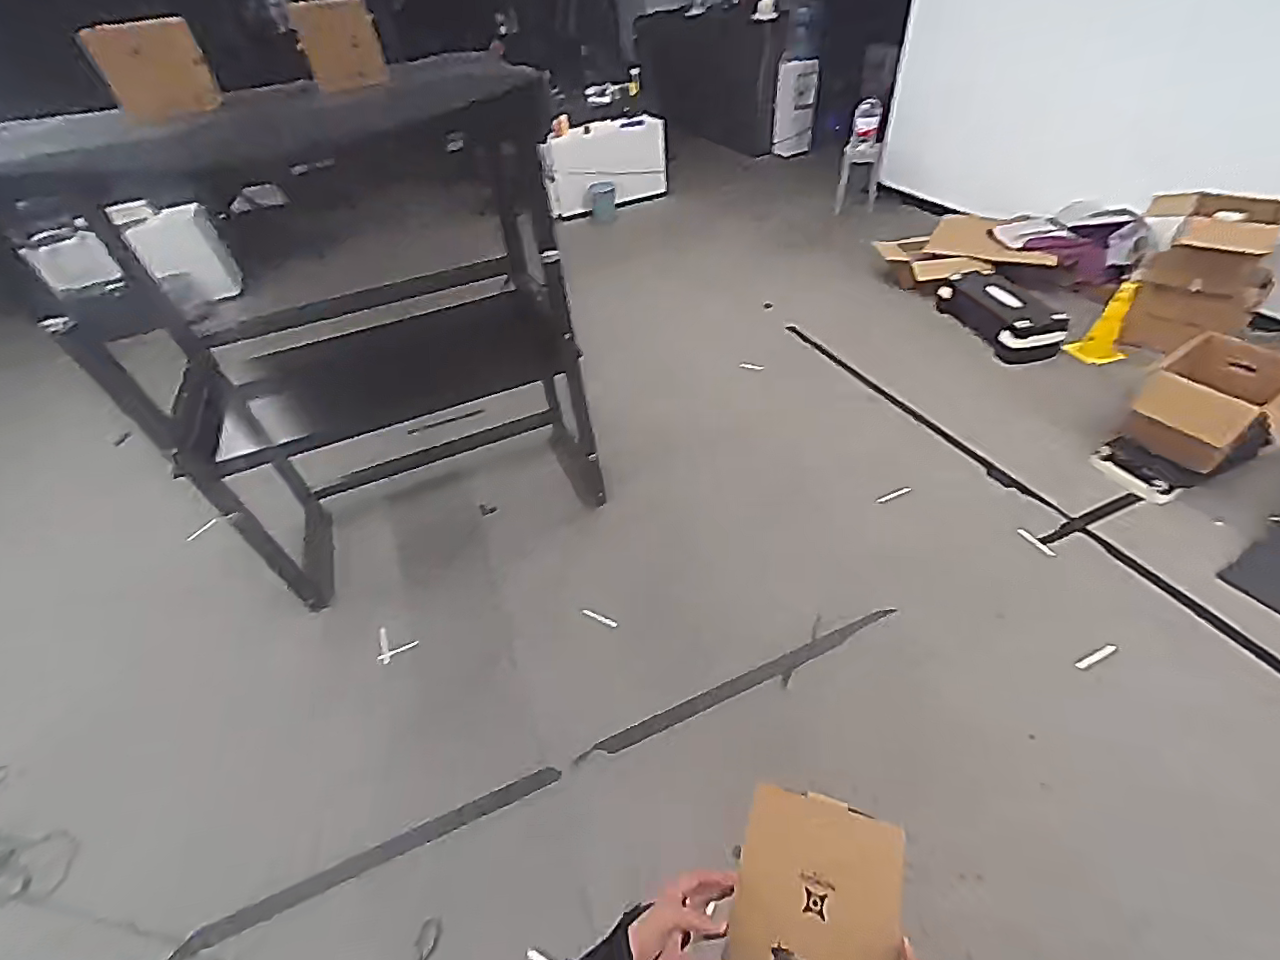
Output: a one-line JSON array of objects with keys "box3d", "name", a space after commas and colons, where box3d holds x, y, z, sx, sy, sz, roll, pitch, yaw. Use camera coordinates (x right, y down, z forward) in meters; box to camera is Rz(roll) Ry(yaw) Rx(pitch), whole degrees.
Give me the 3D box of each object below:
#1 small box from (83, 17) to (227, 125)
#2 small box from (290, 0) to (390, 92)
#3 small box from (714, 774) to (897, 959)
[{"box3d": [-1.110, -0.953, 1.259, 0.179, 0.176, 0.168, -20, 46, -12], "name": "small box"}, {"box3d": [-0.744, -1.088, 1.349, 0.168, 0.176, 0.179, -21, 46, -15], "name": "small box"}, {"box3d": [0.187, 0.474, 0.626, 0.168, 0.176, 0.179, 9, 55, 18], "name": "small box"}]
